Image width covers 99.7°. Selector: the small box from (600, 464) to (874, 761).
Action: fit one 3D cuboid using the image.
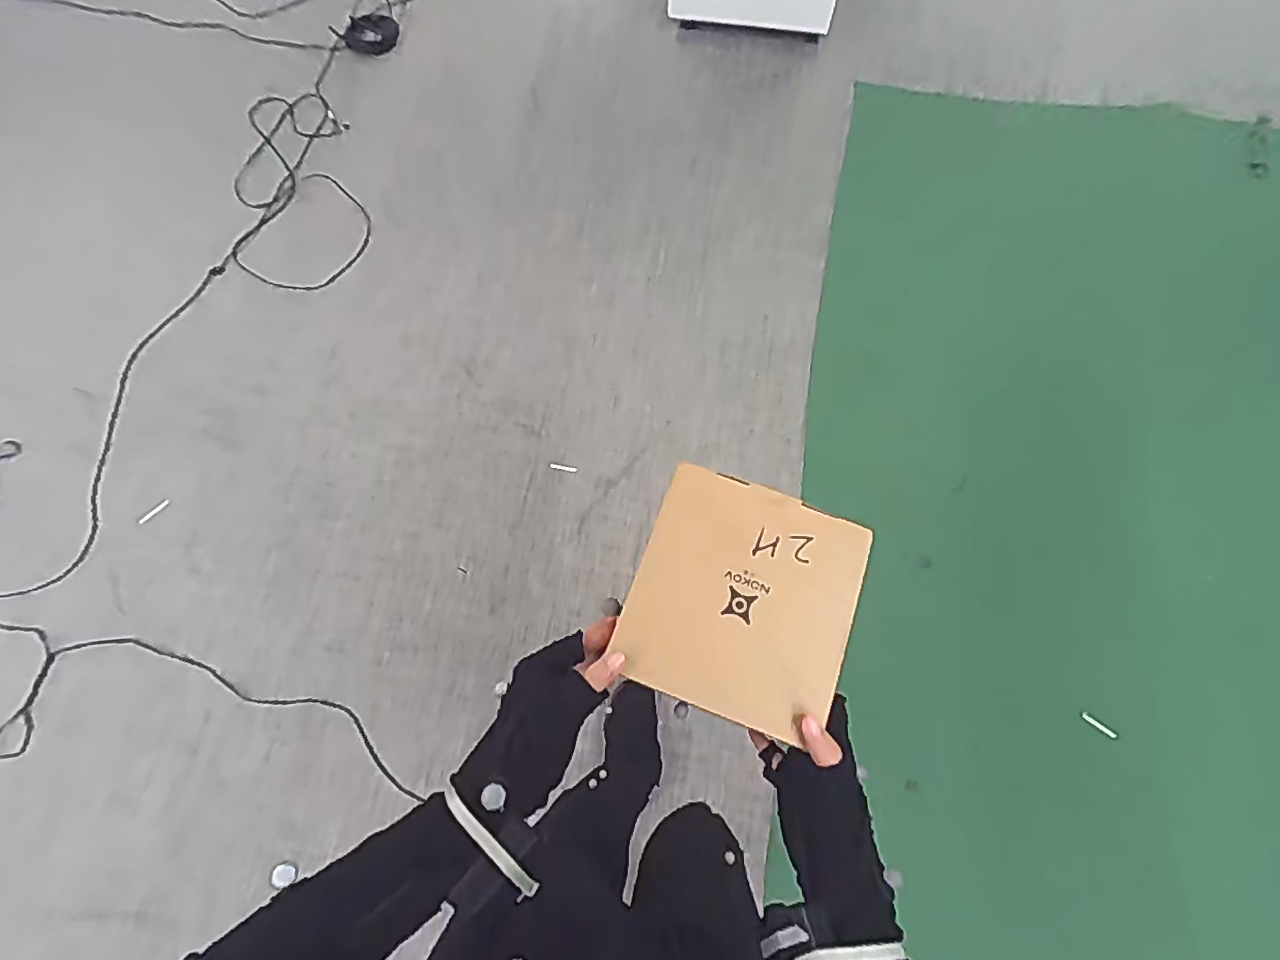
[{"bbox_3d":[0.075,0.117,0.482,0.168,0.176,0.179,22,71,4],"label":"small box"}]
